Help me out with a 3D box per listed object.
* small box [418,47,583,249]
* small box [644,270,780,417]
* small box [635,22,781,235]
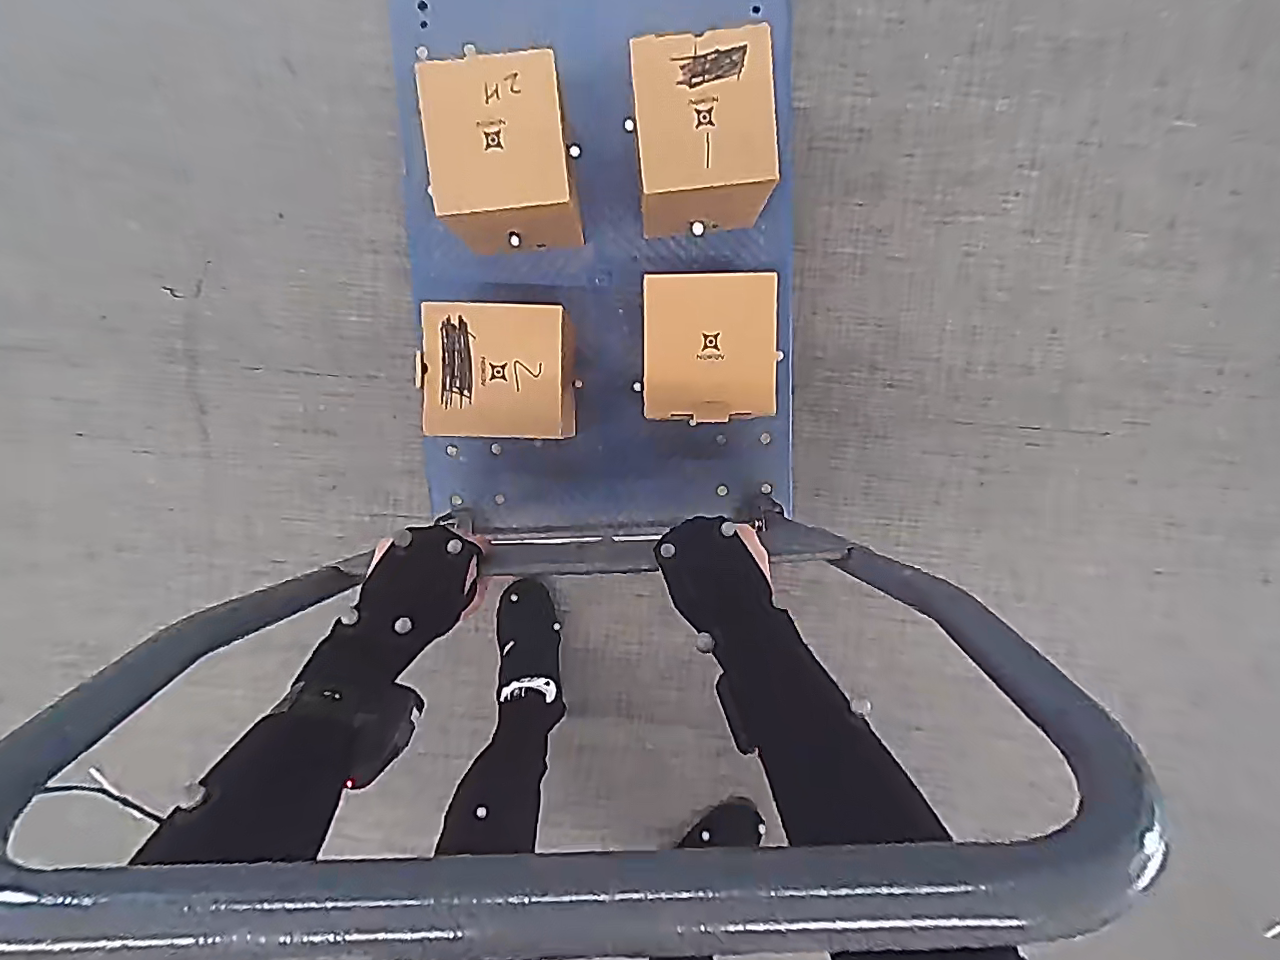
[{"bbox_3d":[-0.170,-0.420,0.717,0.168,0.176,0.179,-5,97,0],"label":"small box"},{"bbox_3d":[0.090,-0.177,0.745,0.168,0.176,0.179,-1,97,0],"label":"small box"},{"bbox_3d":[0.080,-0.446,0.712,0.168,0.176,0.179,-5,98,2],"label":"small box"}]
